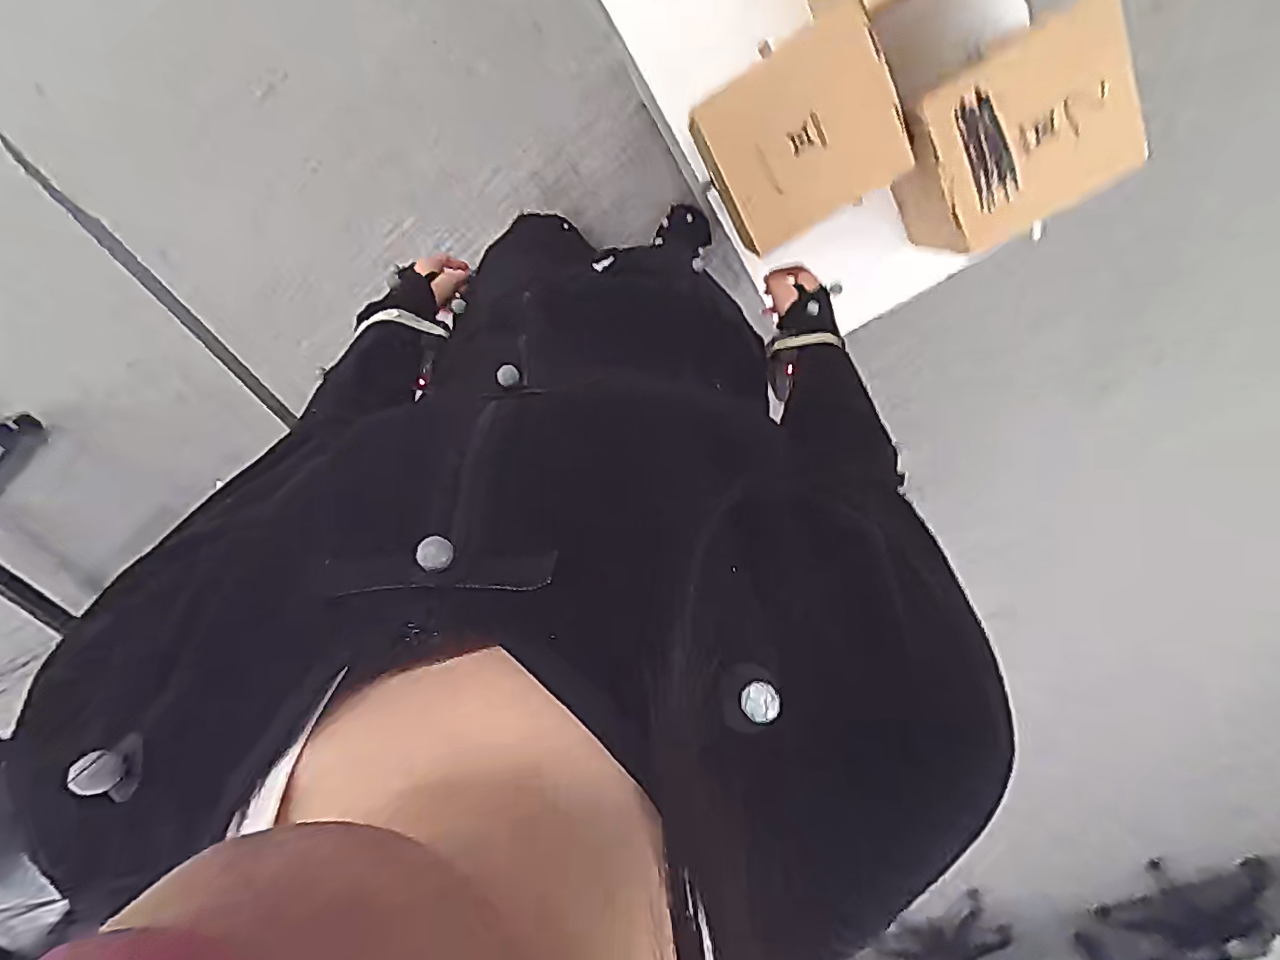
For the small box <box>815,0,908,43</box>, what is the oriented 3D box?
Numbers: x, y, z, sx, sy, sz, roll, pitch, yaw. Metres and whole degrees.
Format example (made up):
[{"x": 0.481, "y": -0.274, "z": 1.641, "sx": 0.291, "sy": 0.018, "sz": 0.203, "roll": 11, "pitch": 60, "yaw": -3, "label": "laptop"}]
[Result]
[{"x": 0.250, "y": -0.564, "z": 0.509, "sx": 0.179, "sy": 0.176, "sz": 0.168, "roll": -26, "pitch": 113, "yaw": 16, "label": "small box"}]
